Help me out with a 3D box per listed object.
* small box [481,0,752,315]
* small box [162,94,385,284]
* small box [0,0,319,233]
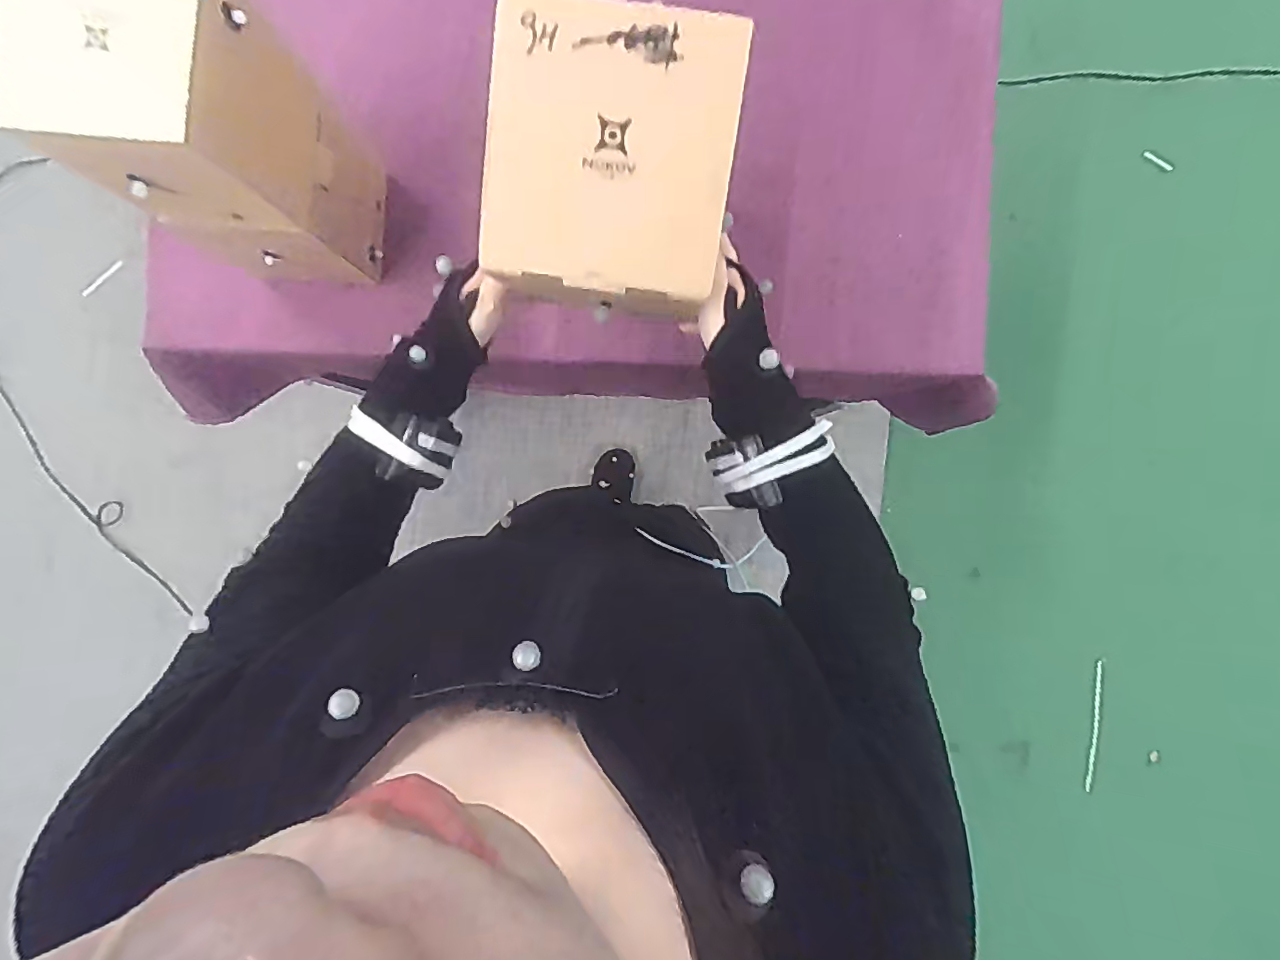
[{"bbox_3d":[-0.018,-0.238,0.442,0.168,0.176,0.179,9,102,-1],"label":"small box"},{"bbox_3d":[-0.451,-0.364,0.693,0.179,0.176,0.168,4,89,0],"label":"small box"},{"bbox_3d":[-0.447,-0.367,0.531,0.168,0.176,0.179,5,89,-1],"label":"small box"}]
